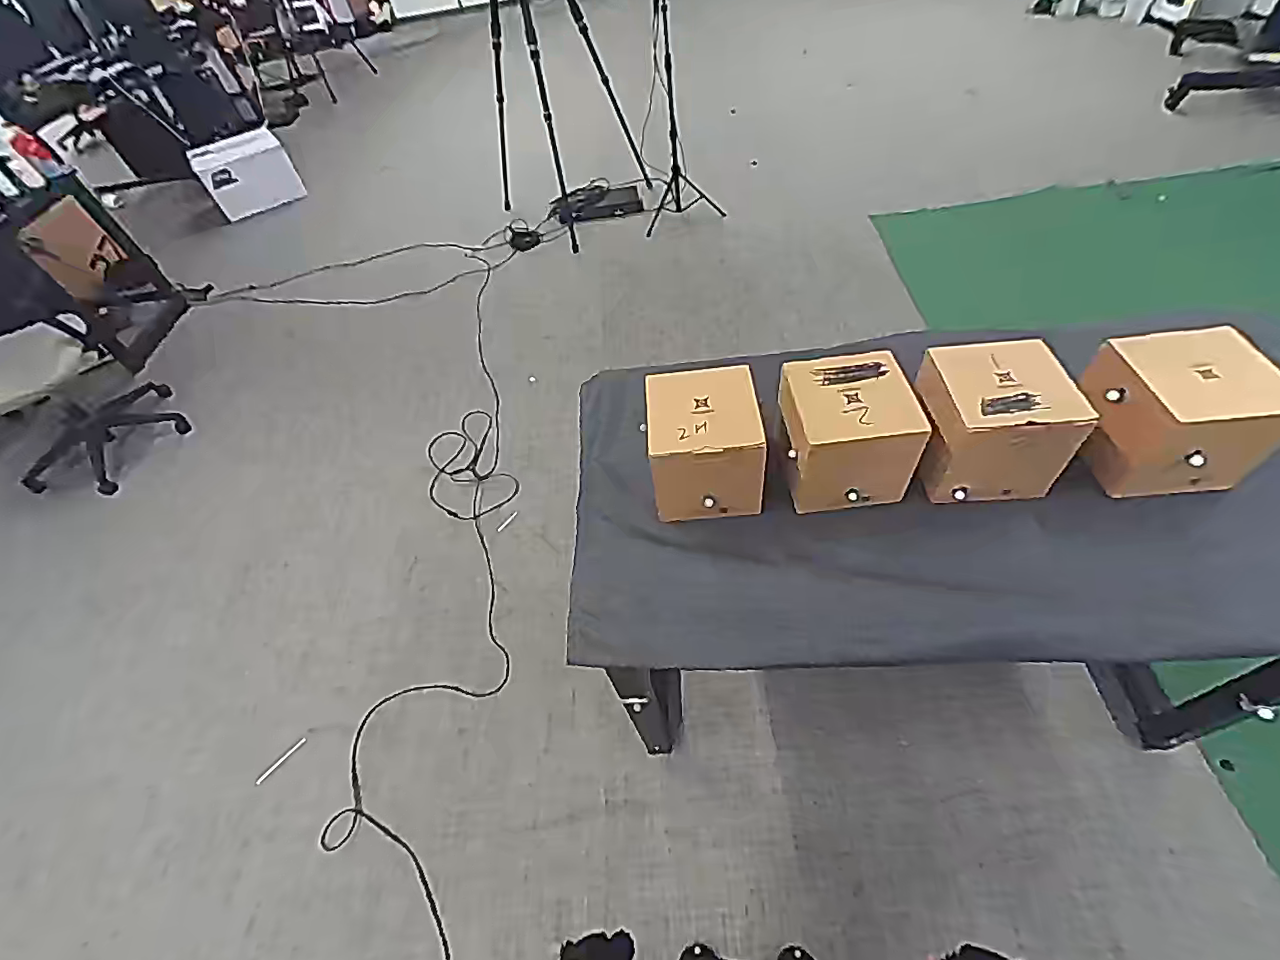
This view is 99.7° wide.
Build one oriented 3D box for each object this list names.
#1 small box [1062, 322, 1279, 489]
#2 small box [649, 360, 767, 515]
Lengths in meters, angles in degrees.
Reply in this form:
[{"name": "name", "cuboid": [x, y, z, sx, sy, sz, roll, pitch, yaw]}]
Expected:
[{"name": "small box", "cuboid": [0.770, -0.099, 0.783, 0.168, 0.176, 0.179, -5, 51, 6]}, {"name": "small box", "cuboid": [0.103, -0.065, 0.863, 0.168, 0.176, 0.179, -5, 52, 5]}]
